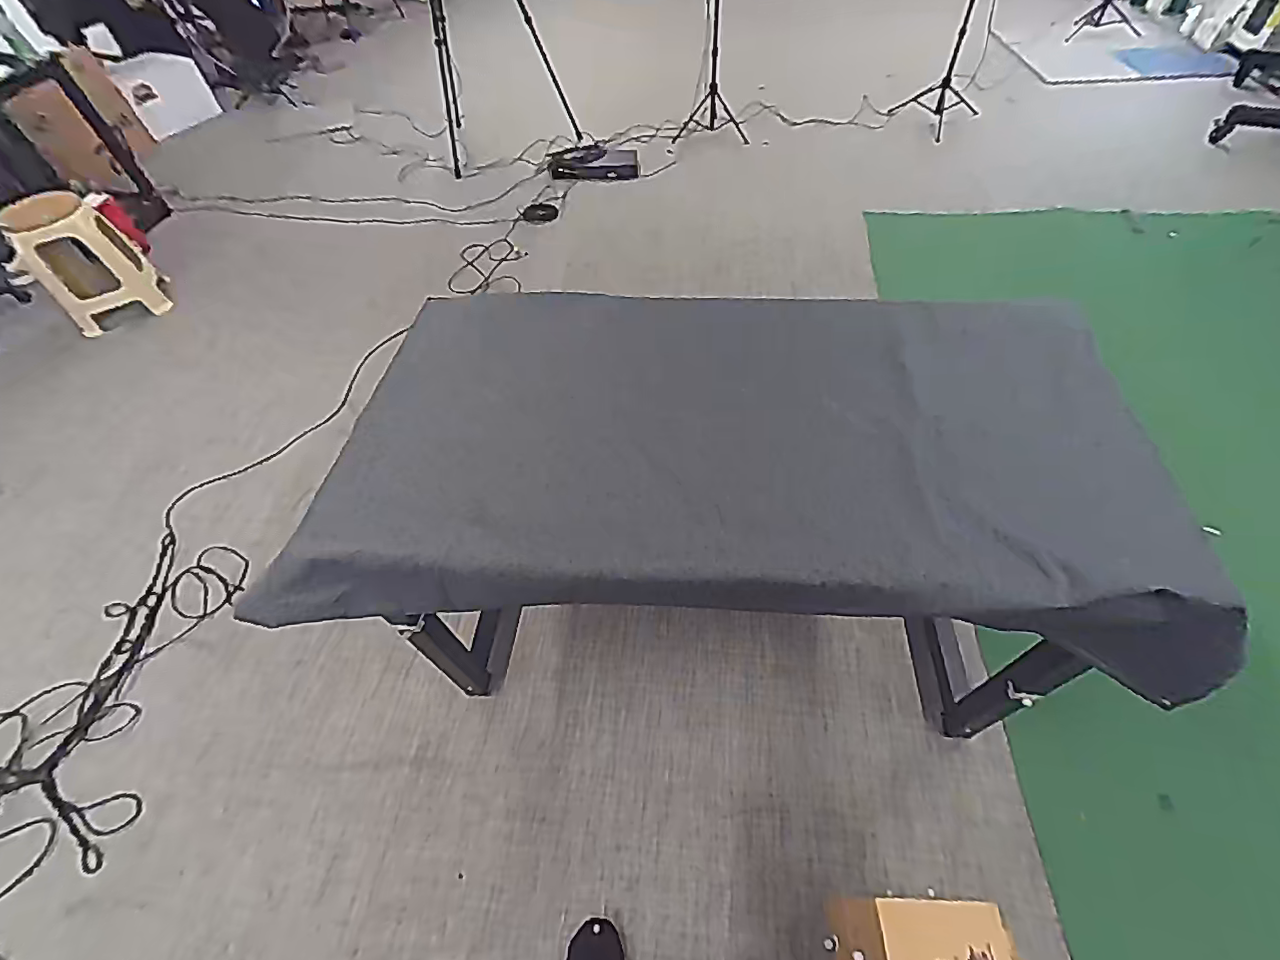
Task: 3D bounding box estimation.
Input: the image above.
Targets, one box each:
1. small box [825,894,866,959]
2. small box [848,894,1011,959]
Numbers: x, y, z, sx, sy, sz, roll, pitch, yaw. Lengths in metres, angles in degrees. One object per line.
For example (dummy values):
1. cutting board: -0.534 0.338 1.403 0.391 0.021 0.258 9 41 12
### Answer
1. small box: 0.436 0.827 0.937 0.179 0.176 0.168 0 52 5
2. small box: 0.433 0.726 0.807 0.179 0.176 0.168 -1 52 4
